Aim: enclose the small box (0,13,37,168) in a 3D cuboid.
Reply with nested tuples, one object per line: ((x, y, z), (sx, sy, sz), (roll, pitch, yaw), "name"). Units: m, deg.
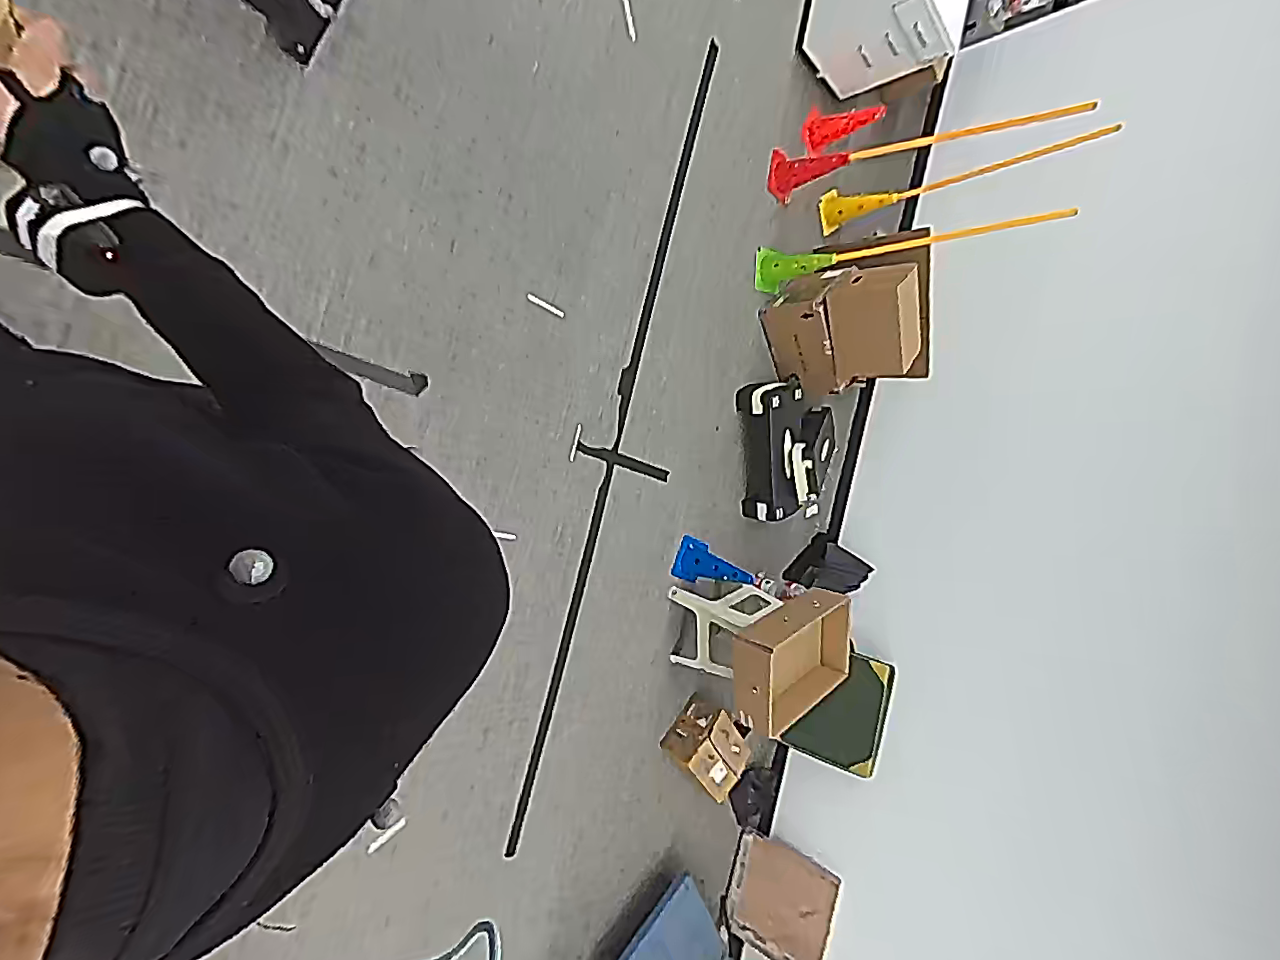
((-0.611, -0.364, 0.407), (0.179, 0.176, 0.168), (-19, 101, -44), "small box")
